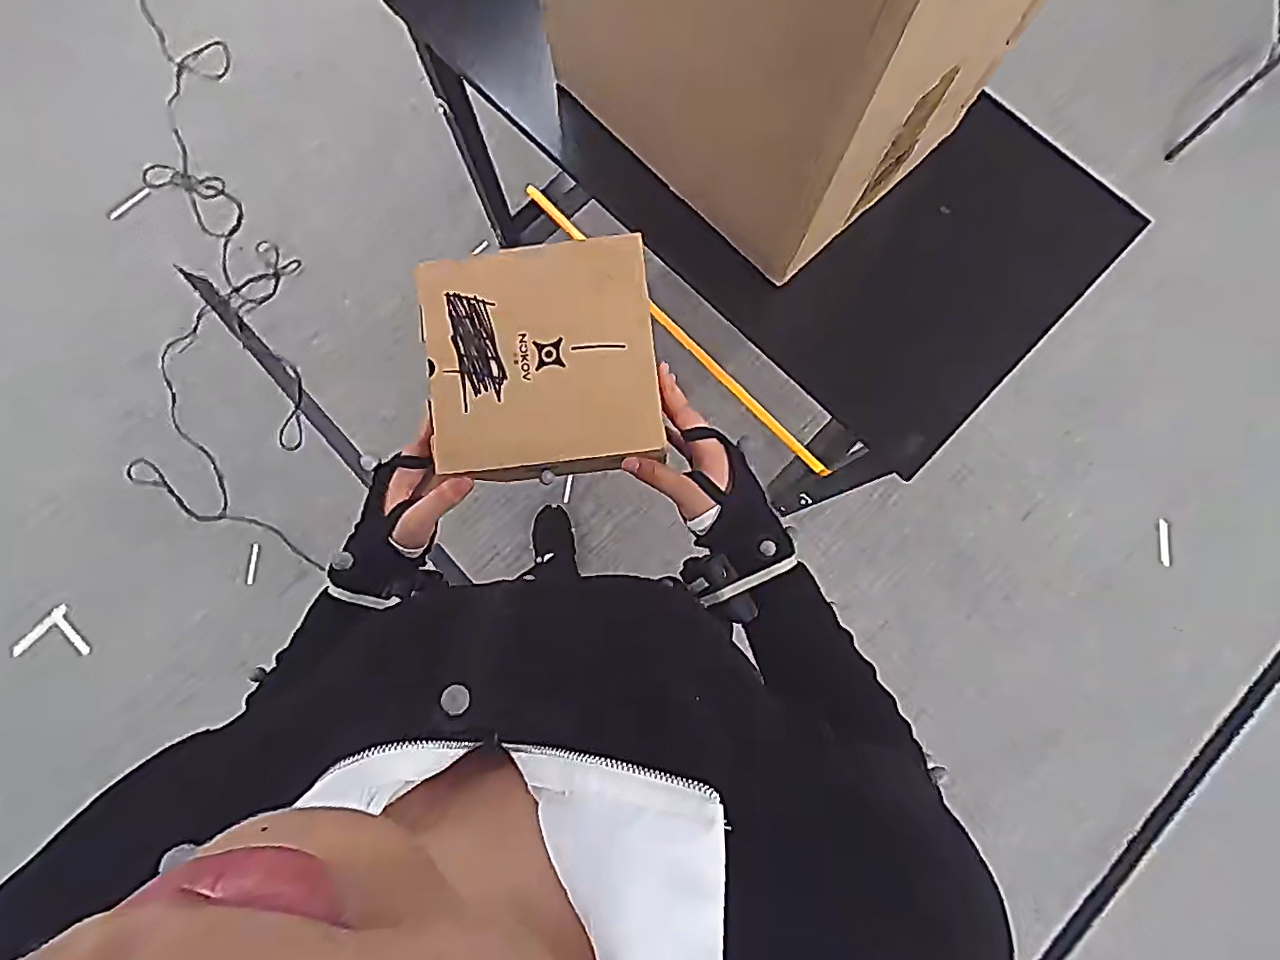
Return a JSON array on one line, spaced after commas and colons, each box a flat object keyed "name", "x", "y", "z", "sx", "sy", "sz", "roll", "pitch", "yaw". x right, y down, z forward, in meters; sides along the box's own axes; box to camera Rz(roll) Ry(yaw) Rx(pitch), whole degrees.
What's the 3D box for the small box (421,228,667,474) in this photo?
[{"name": "small box", "x": -0.070, "y": -0.096, "z": 0.484, "sx": 0.179, "sy": 0.176, "sz": 0.168, "roll": -6, "pitch": 89, "yaw": 2}]
